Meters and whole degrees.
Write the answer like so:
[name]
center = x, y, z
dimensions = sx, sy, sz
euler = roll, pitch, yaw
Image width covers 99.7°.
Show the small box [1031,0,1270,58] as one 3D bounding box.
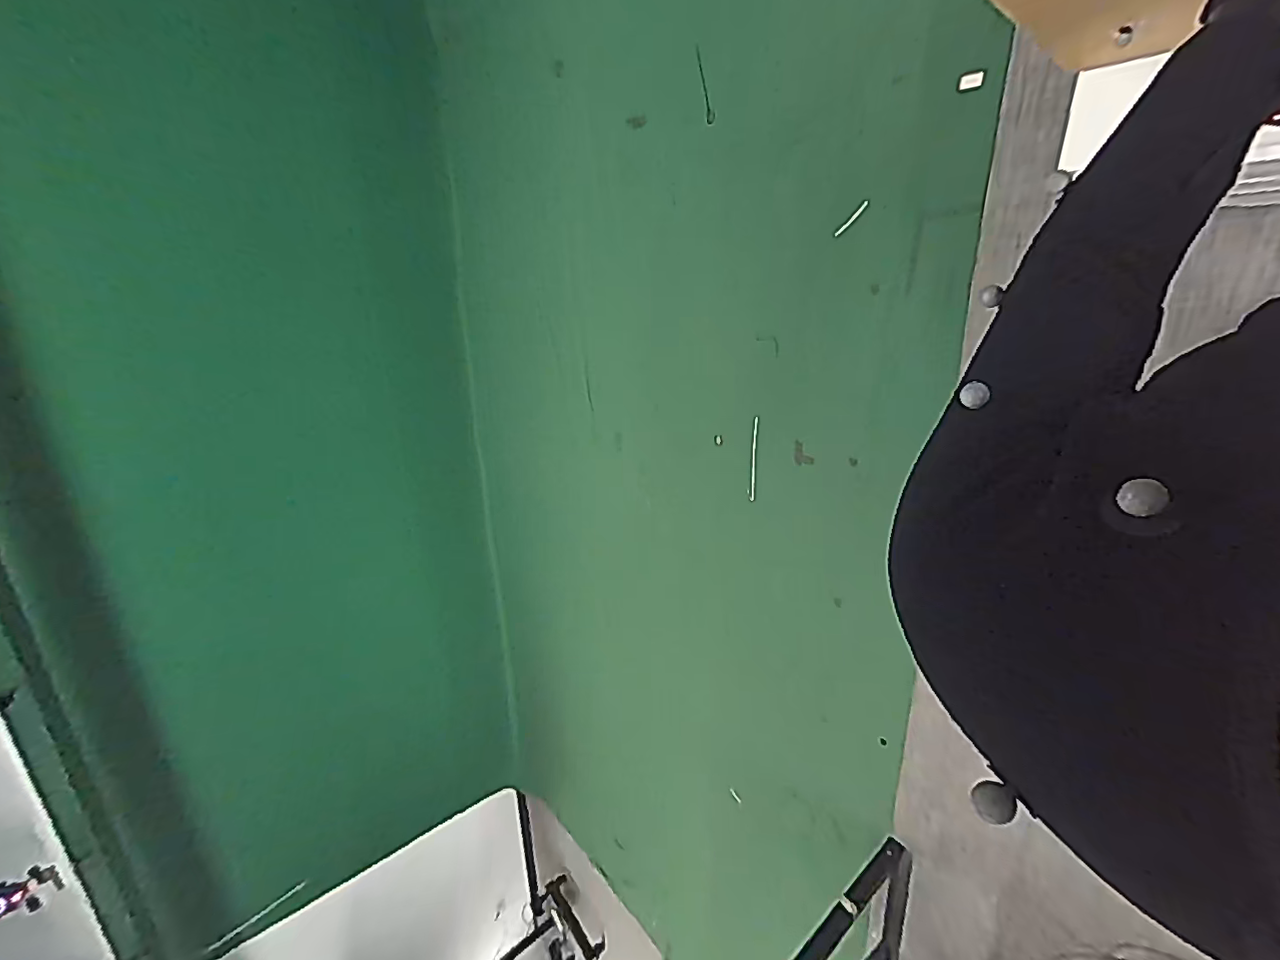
[small box]
center = 0.538, -0.563, 0.545
dimensions = 0.179, 0.176, 0.168
euler = 20, 118, 44
